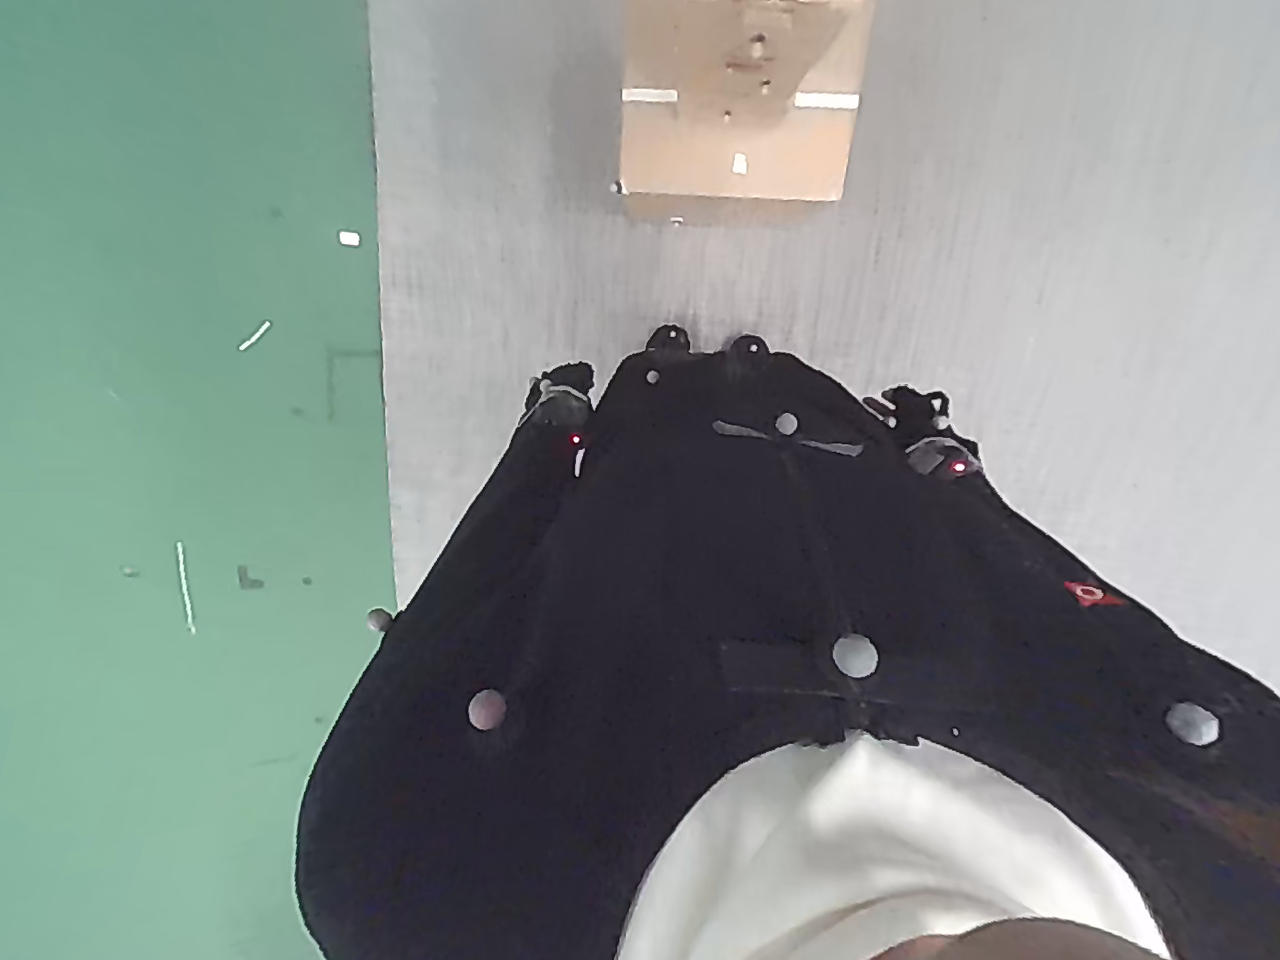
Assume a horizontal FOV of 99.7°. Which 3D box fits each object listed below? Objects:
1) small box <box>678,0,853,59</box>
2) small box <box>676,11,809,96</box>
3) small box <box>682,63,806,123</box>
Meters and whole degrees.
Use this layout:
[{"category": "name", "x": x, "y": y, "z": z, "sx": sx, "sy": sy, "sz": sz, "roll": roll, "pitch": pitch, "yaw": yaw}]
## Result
[{"category": "small box", "x": 0.130, "y": -0.553, "z": 0.542, "sx": 0.168, "sy": 0.176, "sz": 0.179, "roll": 6, "pitch": 113, "yaw": 2}, {"category": "small box", "x": 0.138, "y": -0.619, "z": 0.691, "sx": 0.168, "sy": 0.176, "sz": 0.179, "roll": 6, "pitch": 112, "yaw": 2}, {"category": "small box", "x": 0.159, "y": -0.672, "z": 0.843, "sx": 0.179, "sy": 0.176, "sz": 0.168, "roll": 4, "pitch": 113, "yaw": 3}]
